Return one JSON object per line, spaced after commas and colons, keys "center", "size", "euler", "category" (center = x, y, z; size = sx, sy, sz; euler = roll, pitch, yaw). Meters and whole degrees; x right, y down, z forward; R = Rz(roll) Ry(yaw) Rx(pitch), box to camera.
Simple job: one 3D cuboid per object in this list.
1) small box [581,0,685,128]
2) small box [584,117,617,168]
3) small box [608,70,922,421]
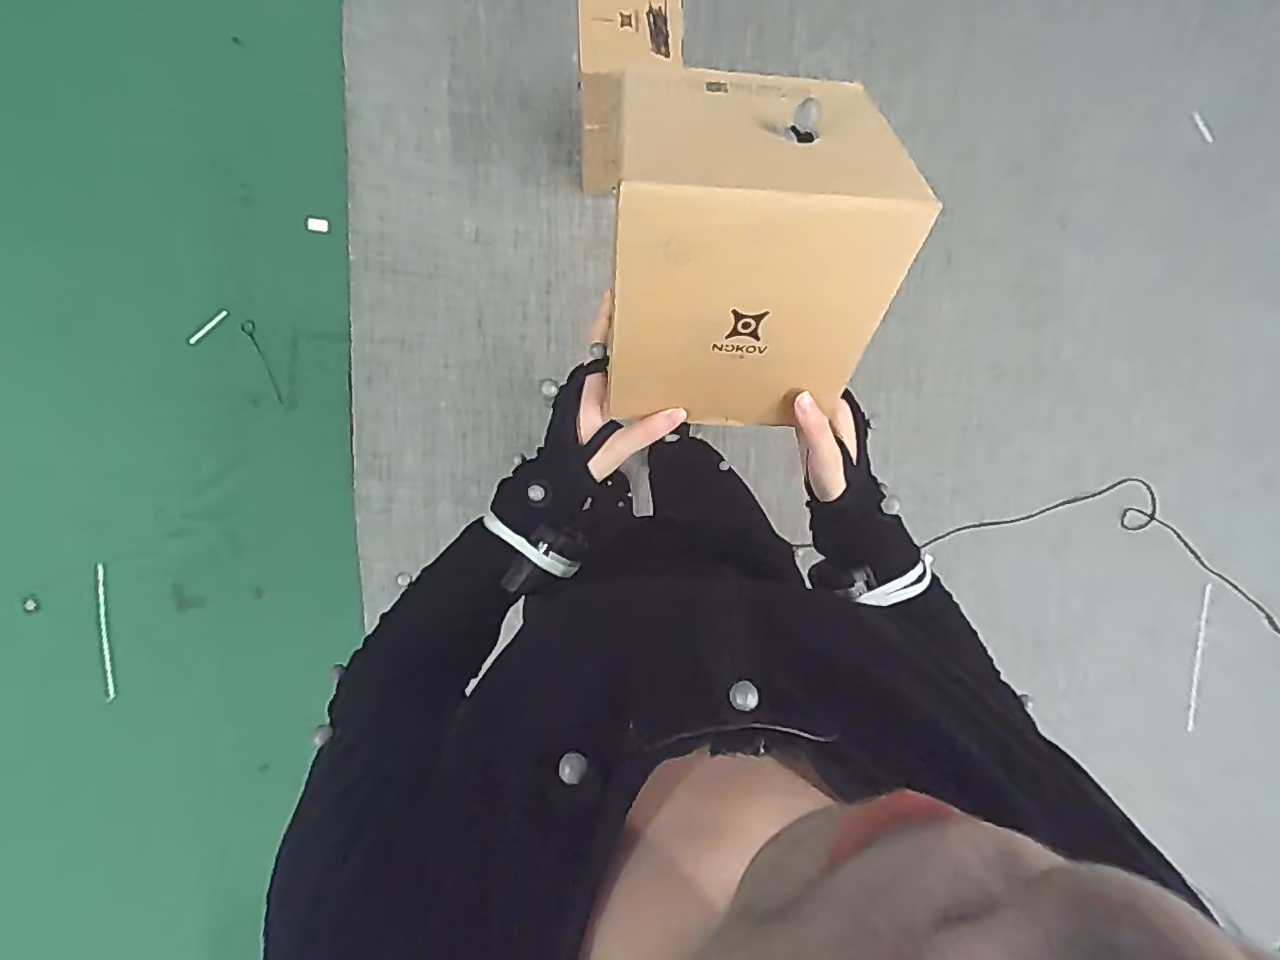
{"center": [-0.016, -0.766, 0.983], "size": [0.179, 0.176, 0.168], "euler": [-1, 97, -3], "category": "small box"}
{"center": [-0.036, -0.790, 1.144], "size": [0.168, 0.176, 0.179], "euler": [-3, 98, -3], "category": "small box"}
{"center": [0.062, -0.165, 0.393], "size": [0.168, 0.179, 0.176], "euler": [2, 55, -3], "category": "small box"}
